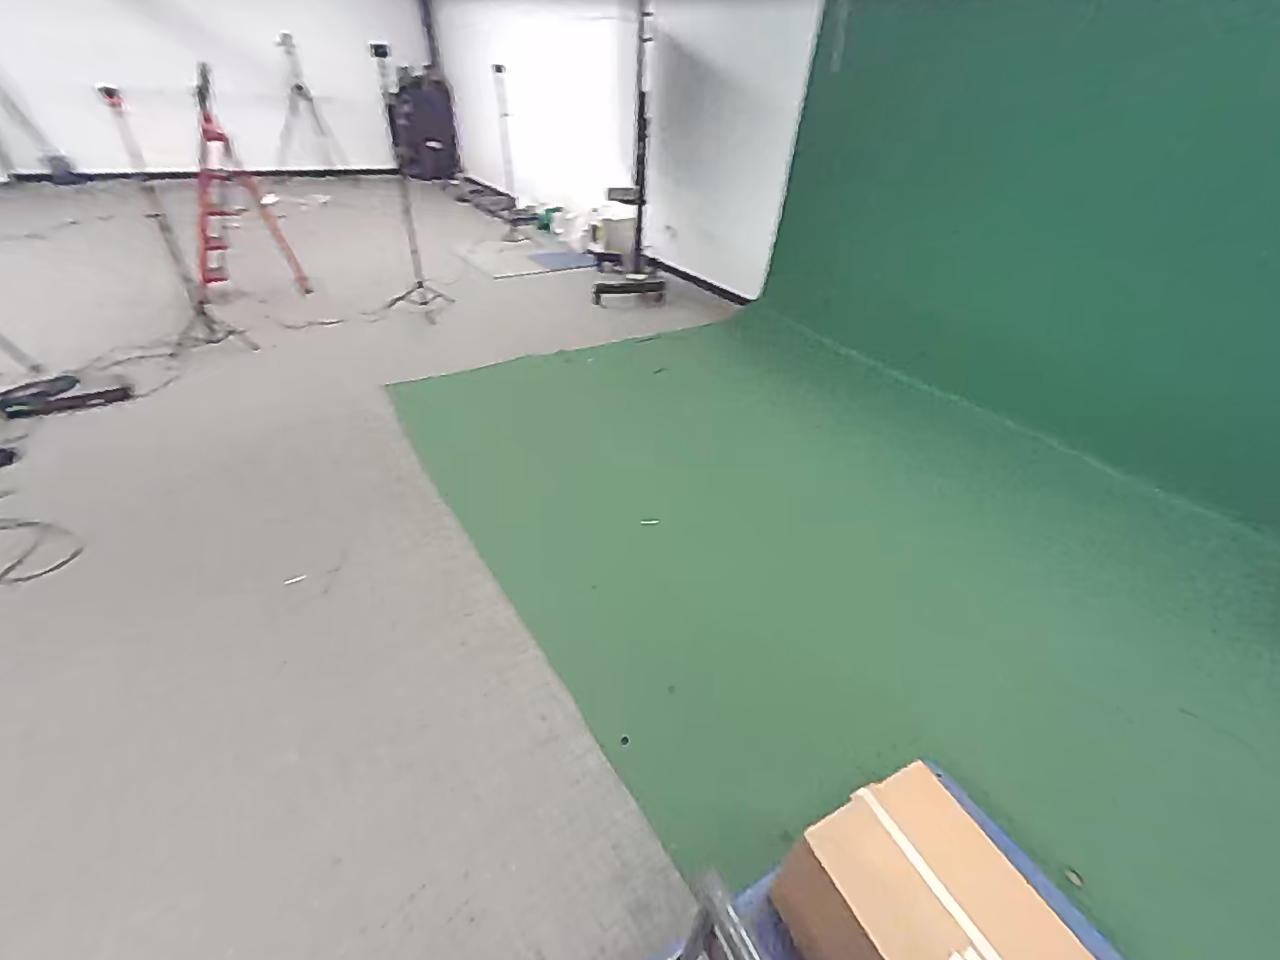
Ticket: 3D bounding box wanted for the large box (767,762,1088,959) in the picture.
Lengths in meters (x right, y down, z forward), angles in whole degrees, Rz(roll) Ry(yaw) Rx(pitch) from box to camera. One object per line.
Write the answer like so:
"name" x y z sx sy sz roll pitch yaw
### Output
"large box" 0.503 0.836 0.999 0.320 0.320 0.408 -14 41 -24
